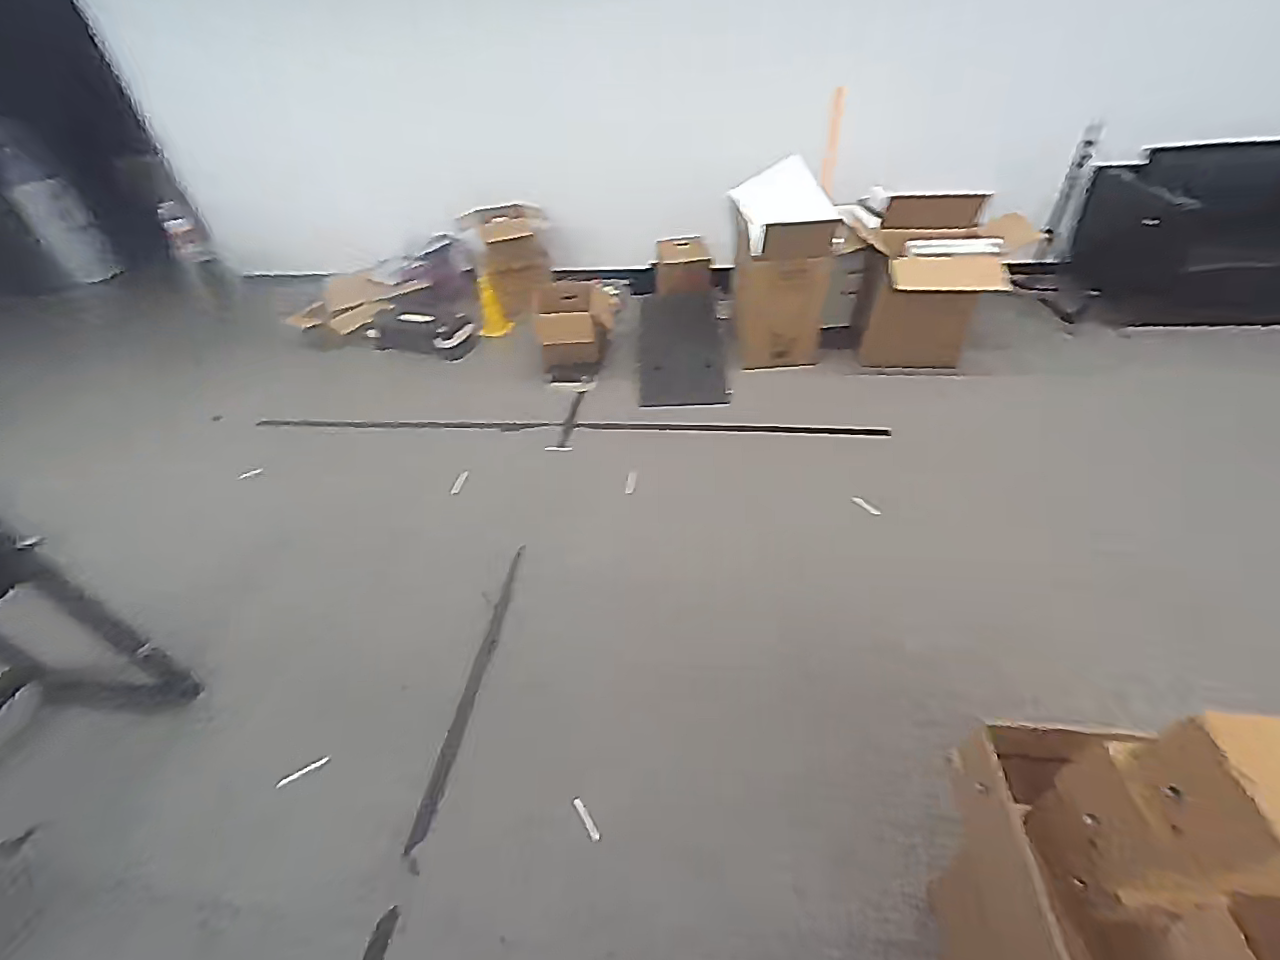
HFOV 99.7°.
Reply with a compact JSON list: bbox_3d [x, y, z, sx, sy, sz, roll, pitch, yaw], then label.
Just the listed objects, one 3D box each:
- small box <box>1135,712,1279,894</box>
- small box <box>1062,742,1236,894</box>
[{"bbox_3d":[0.827,0.426,0.709,0.179,0.176,0.168,2,44,5],"label":"small box"},{"bbox_3d":[0.821,0.526,0.841,0.179,0.176,0.168,-1,43,3],"label":"small box"}]
